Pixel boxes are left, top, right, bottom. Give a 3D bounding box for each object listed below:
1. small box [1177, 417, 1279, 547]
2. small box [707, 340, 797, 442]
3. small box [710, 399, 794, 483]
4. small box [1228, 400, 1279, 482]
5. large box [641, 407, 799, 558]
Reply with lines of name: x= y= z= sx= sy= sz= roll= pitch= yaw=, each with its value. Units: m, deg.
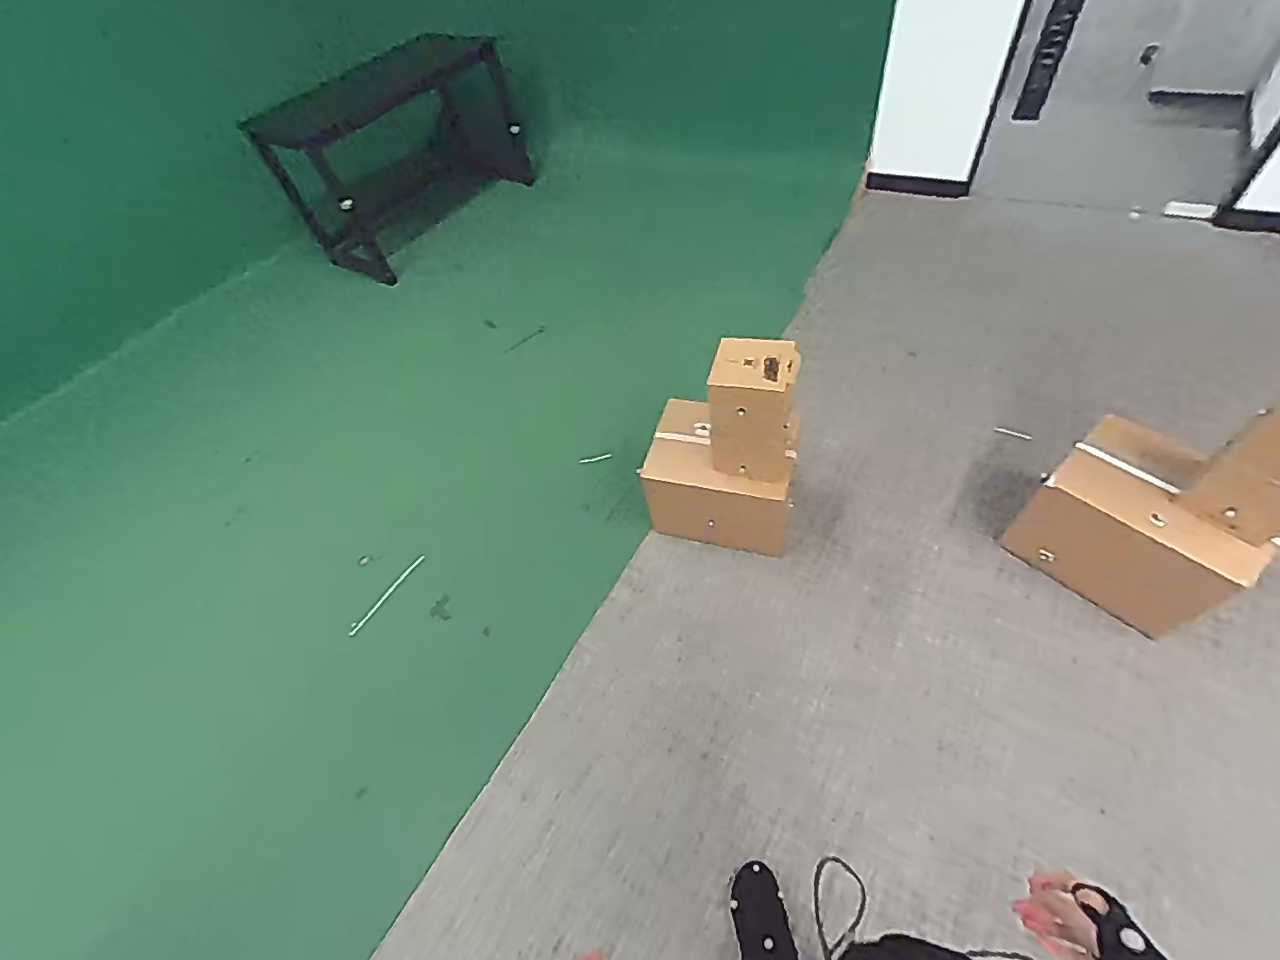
small box: x=1.309 y=0.006 z=1.142 sx=0.179 sy=0.176 sz=0.168 roll=-36 pitch=55 yaw=-18
small box: x=0.269 y=-0.209 z=1.291 sx=0.179 sy=0.176 sz=0.168 roll=9 pitch=56 yaw=19
small box: x=0.294 y=-0.112 z=1.422 sx=0.179 sy=0.176 sz=0.168 roll=14 pitch=57 yaw=20
small box: x=1.293 y=-0.088 z=1.011 sx=0.168 sy=0.176 sz=0.179 roll=-35 pitch=54 yaw=-17
large box: x=0.257 y=0.006 z=1.651 sx=0.408 sy=0.320 sz=0.320 roll=9 pitch=55 yaw=18
